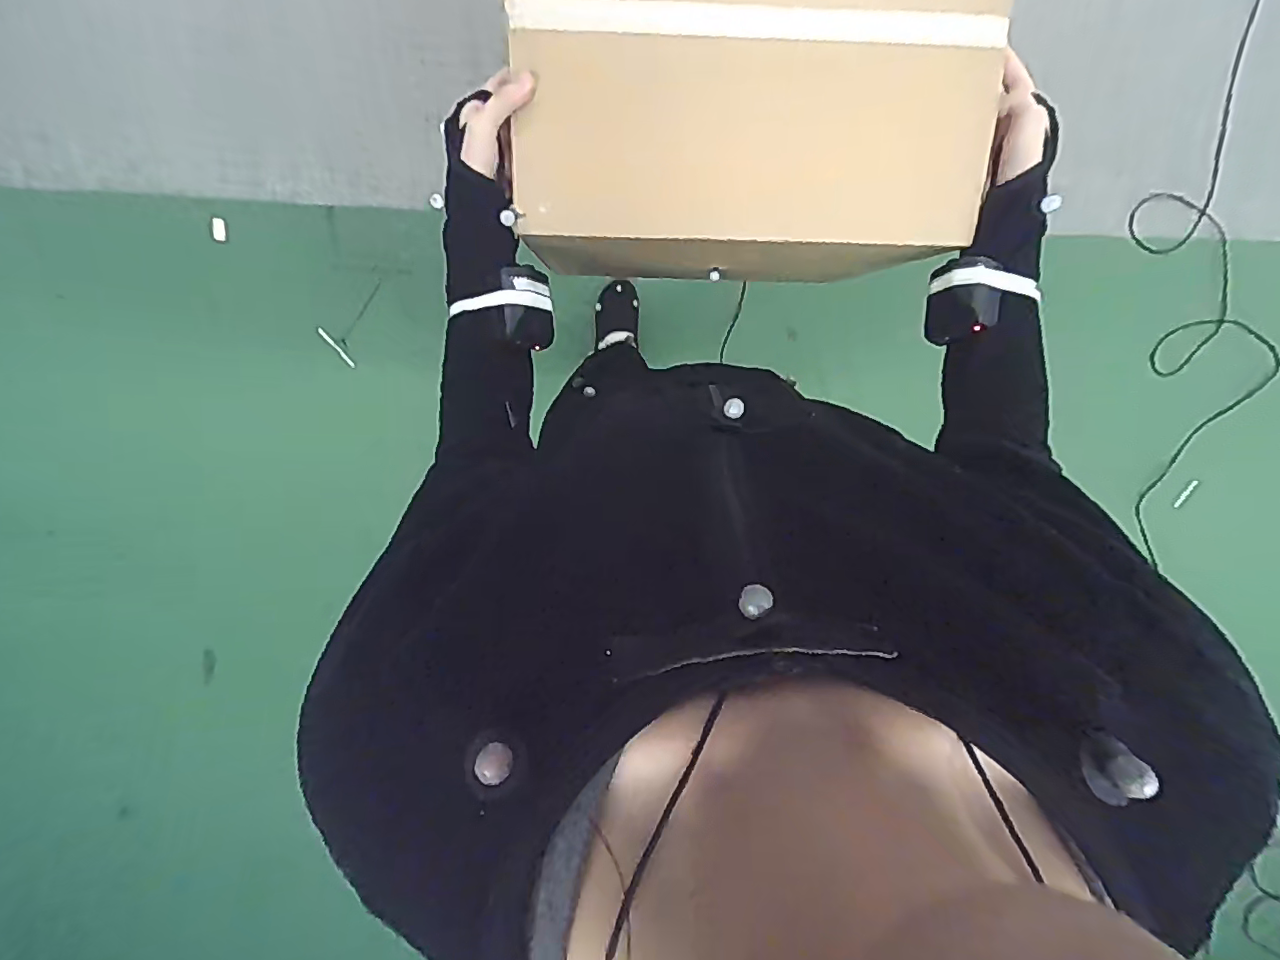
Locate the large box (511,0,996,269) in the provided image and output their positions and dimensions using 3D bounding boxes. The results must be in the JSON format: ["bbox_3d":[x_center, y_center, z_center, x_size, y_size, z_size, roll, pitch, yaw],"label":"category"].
[{"bbox_3d":[0.091,-0.409,0.589,0.408,0.320,0.320,1,104,-2],"label":"large box"}]
